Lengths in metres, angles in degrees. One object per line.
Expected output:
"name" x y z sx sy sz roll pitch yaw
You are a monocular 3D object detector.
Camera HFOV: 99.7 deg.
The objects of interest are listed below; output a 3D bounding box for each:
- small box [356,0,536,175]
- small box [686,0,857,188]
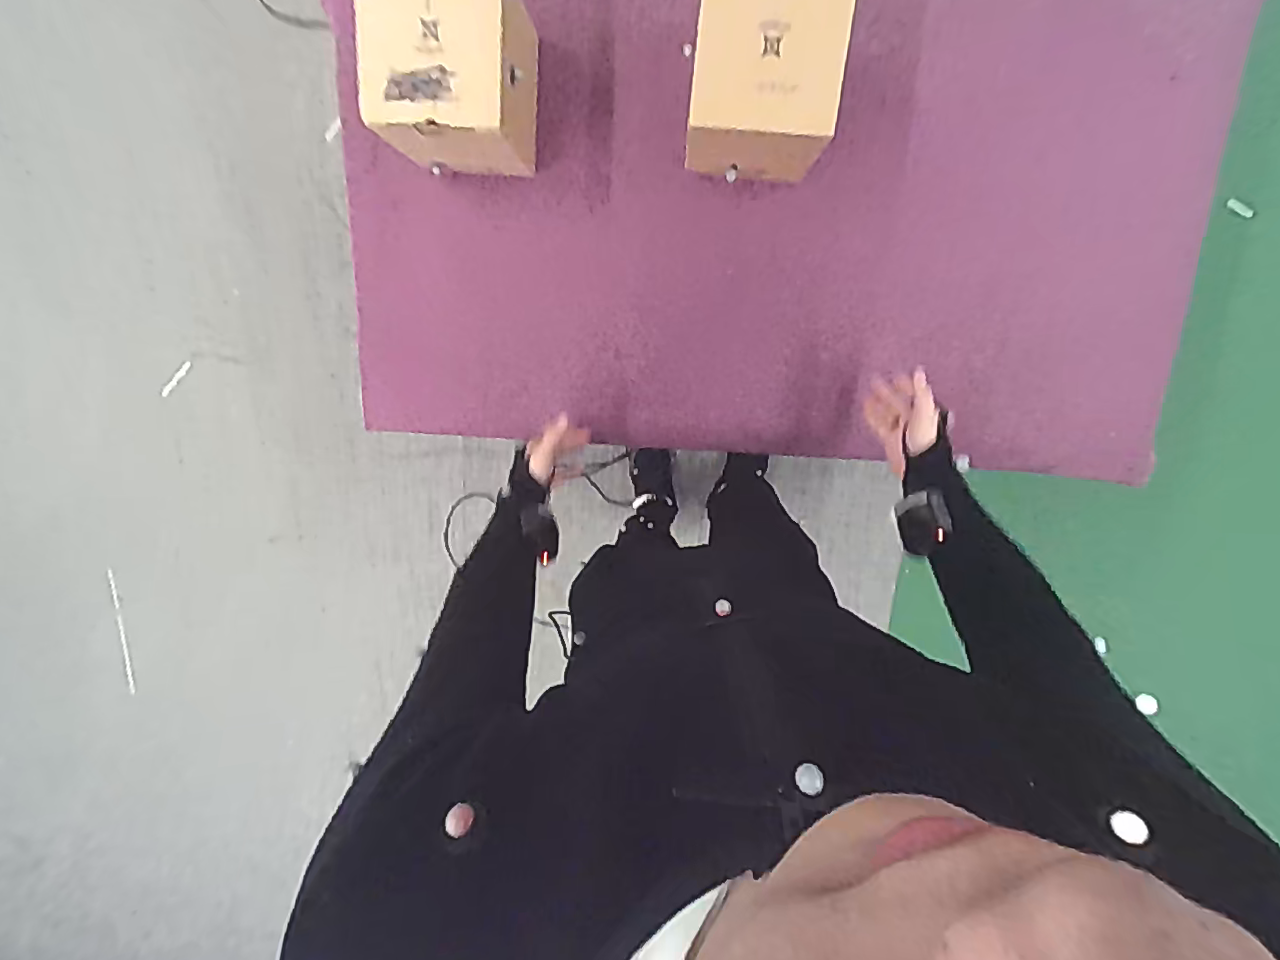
"small box" -0.229 -0.502 0.677 0.168 0.176 0.179 4 104 1
"small box" 0.148 -0.489 0.670 0.168 0.176 0.179 6 104 1
